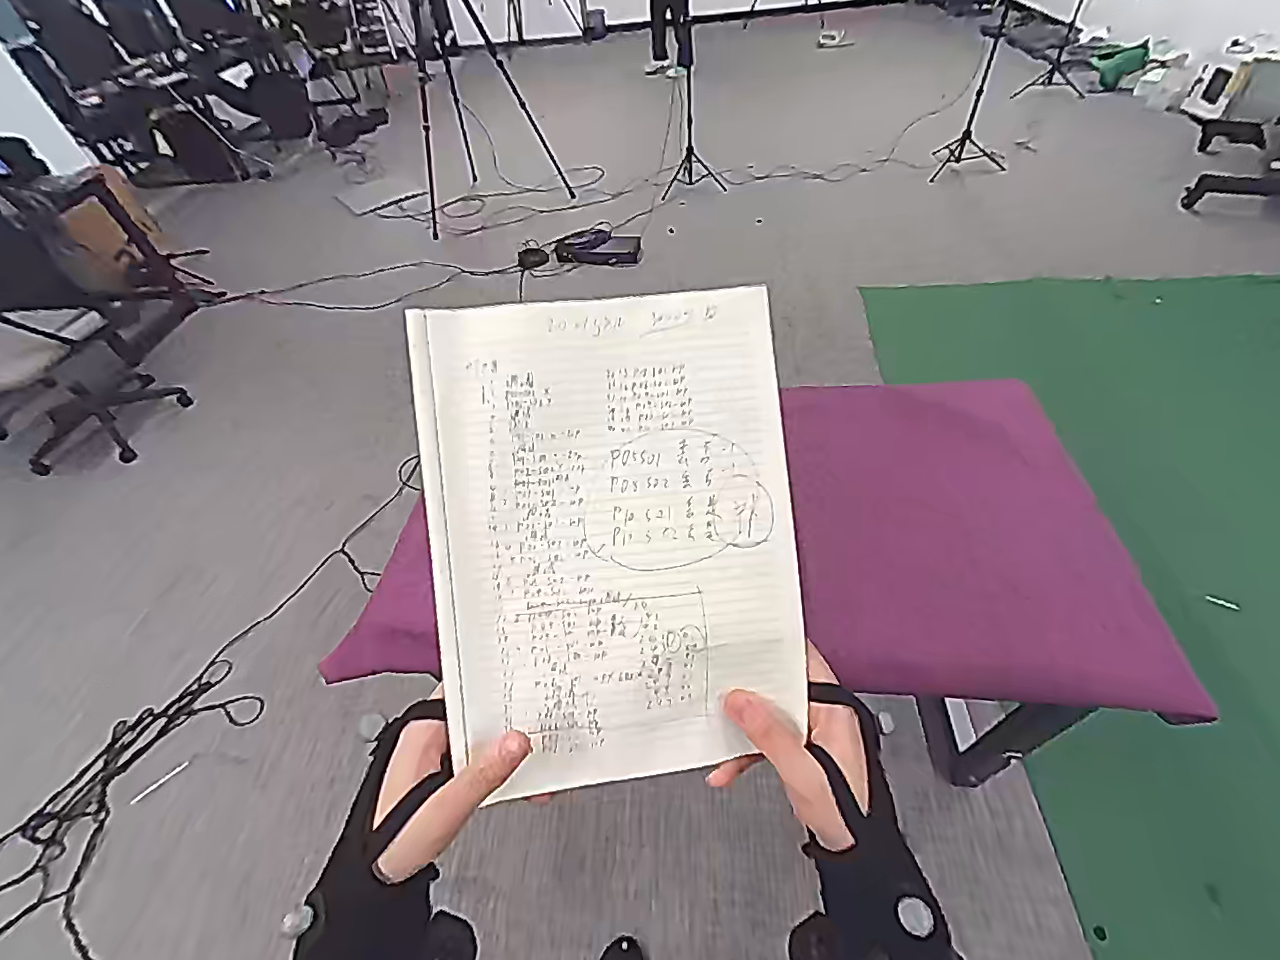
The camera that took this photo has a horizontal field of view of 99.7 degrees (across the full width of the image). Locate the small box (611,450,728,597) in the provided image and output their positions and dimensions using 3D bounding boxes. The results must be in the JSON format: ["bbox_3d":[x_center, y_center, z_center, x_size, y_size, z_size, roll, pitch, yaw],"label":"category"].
[{"bbox_3d":[0.056,0.072,0.870,0.168,0.176,0.179,2,49,7],"label":"small box"}]
